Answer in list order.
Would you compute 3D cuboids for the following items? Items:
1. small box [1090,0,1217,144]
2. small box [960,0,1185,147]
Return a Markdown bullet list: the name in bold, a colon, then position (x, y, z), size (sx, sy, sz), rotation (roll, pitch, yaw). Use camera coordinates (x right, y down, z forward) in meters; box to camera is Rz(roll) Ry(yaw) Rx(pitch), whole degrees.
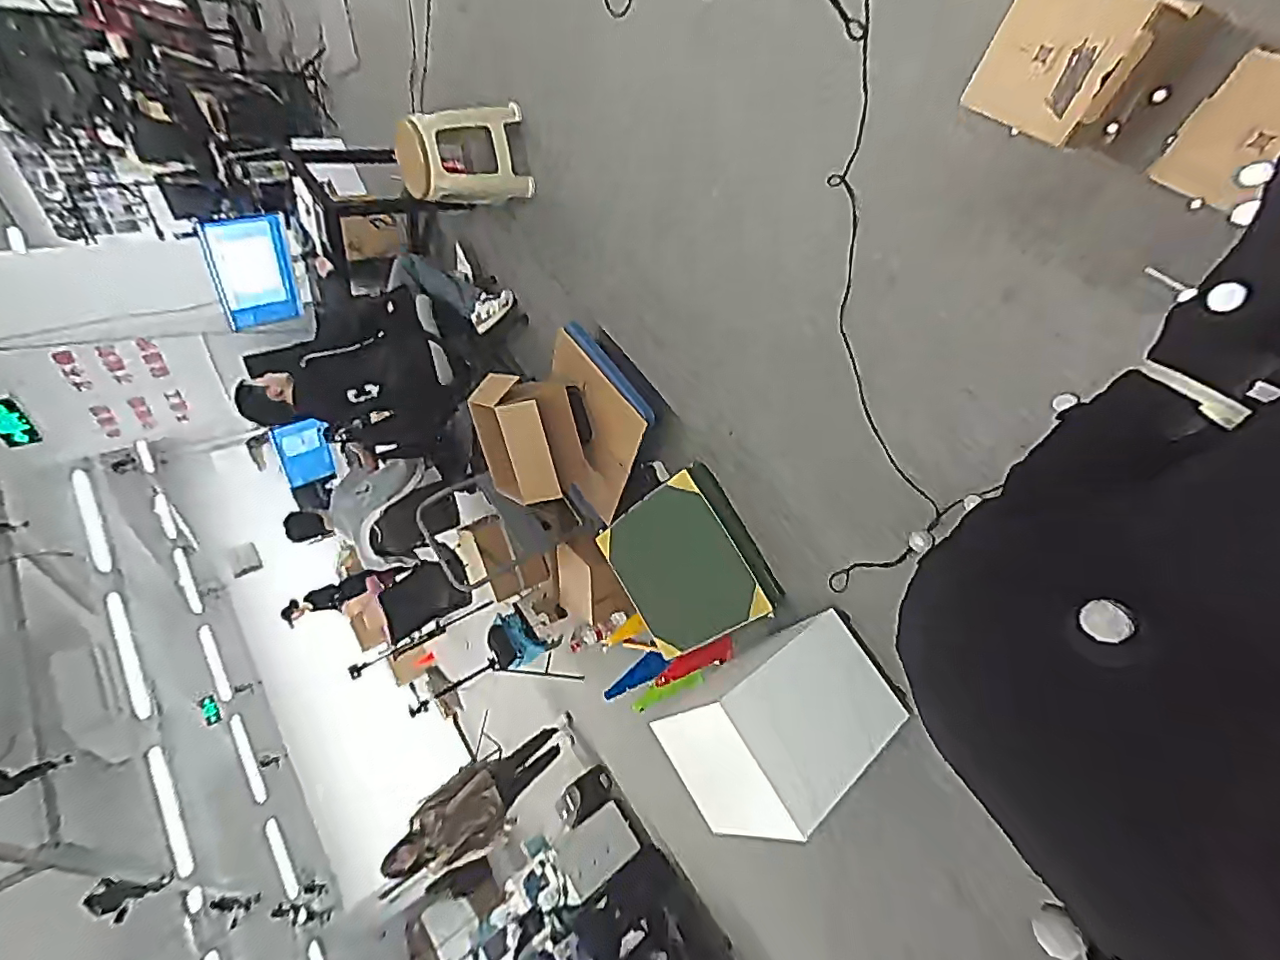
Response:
- **small box**: position (0.766, -0.666, 0.876), size (0.168, 0.176, 0.179), rotation (45, 141, 30)
- **small box**: position (0.631, -0.615, 0.794), size (0.179, 0.176, 0.168), rotation (49, 142, 26)
